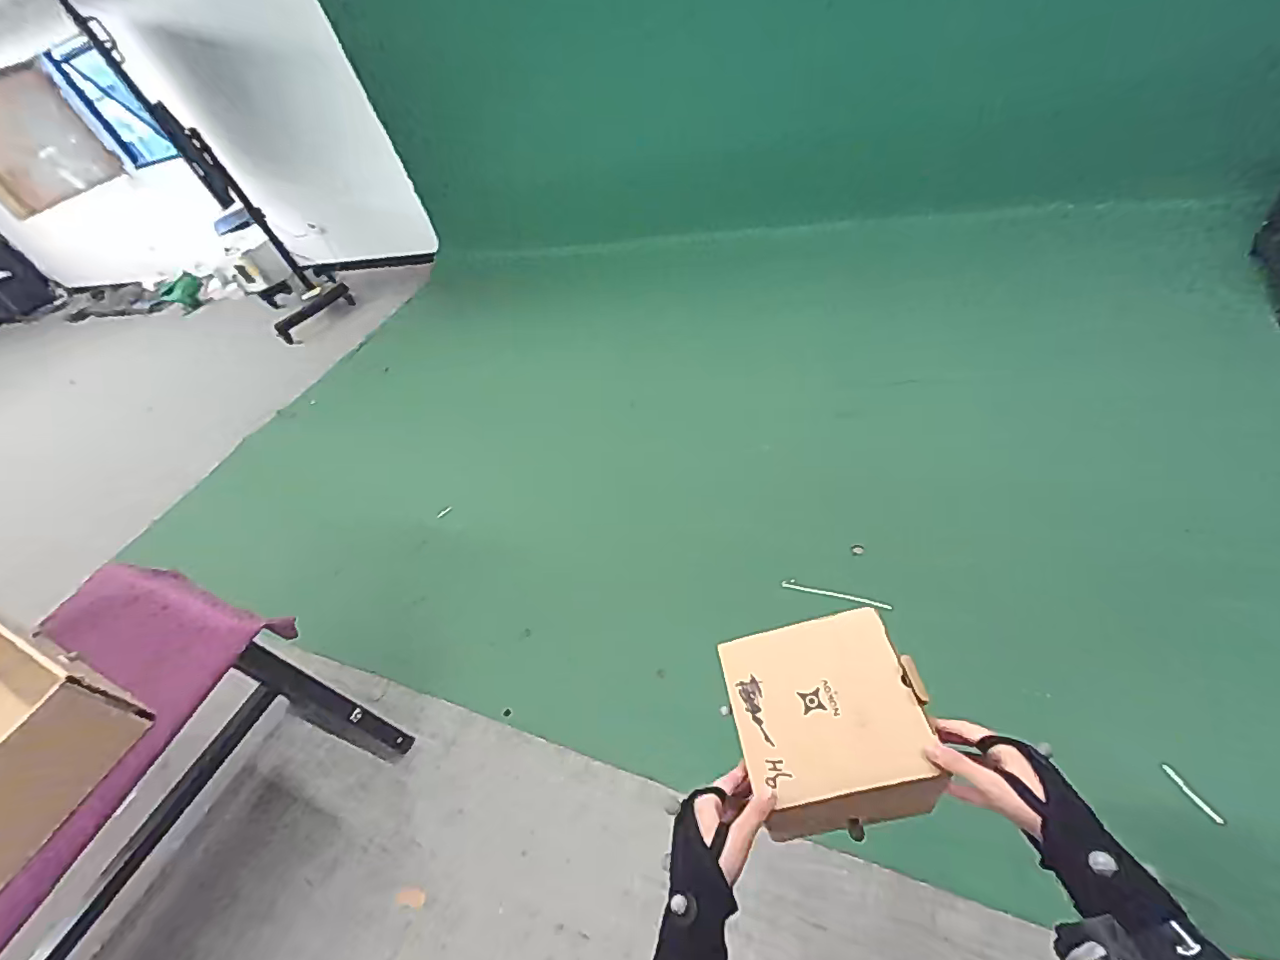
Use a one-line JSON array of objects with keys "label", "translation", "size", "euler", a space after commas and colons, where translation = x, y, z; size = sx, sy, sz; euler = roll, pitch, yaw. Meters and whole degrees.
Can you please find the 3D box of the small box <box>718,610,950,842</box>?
[{"label": "small box", "translation": [0.195, 0.268, 0.582], "size": [0.179, 0.176, 0.168], "euler": [-16, 45, 6]}]
